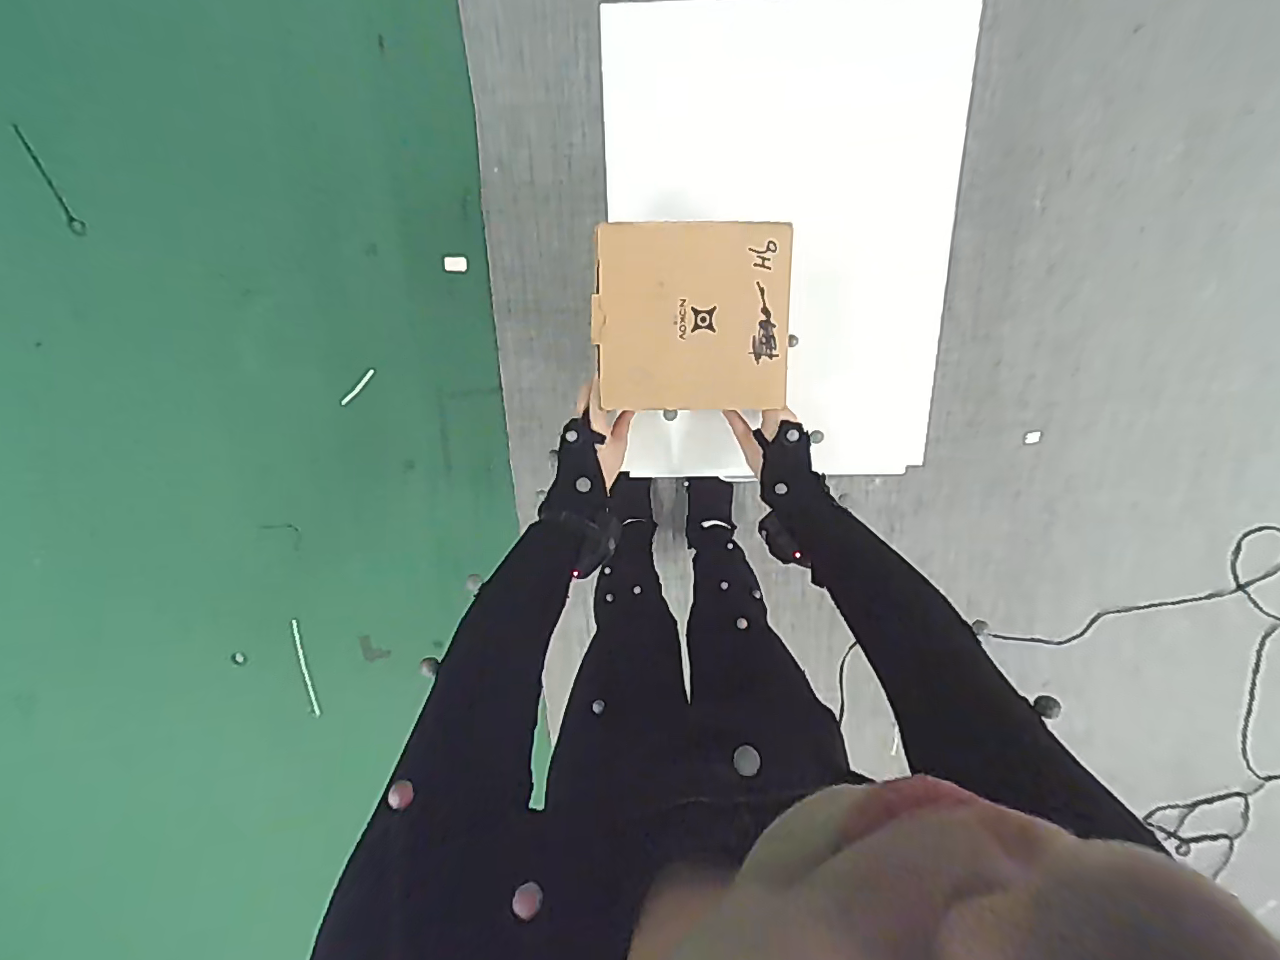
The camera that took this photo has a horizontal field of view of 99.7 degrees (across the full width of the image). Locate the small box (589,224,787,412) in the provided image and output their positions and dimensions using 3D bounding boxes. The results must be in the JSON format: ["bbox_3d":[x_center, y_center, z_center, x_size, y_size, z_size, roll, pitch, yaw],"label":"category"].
[{"bbox_3d":[0.043,-0.157,0.567,0.179,0.176,0.168,0,100,0],"label":"small box"}]
